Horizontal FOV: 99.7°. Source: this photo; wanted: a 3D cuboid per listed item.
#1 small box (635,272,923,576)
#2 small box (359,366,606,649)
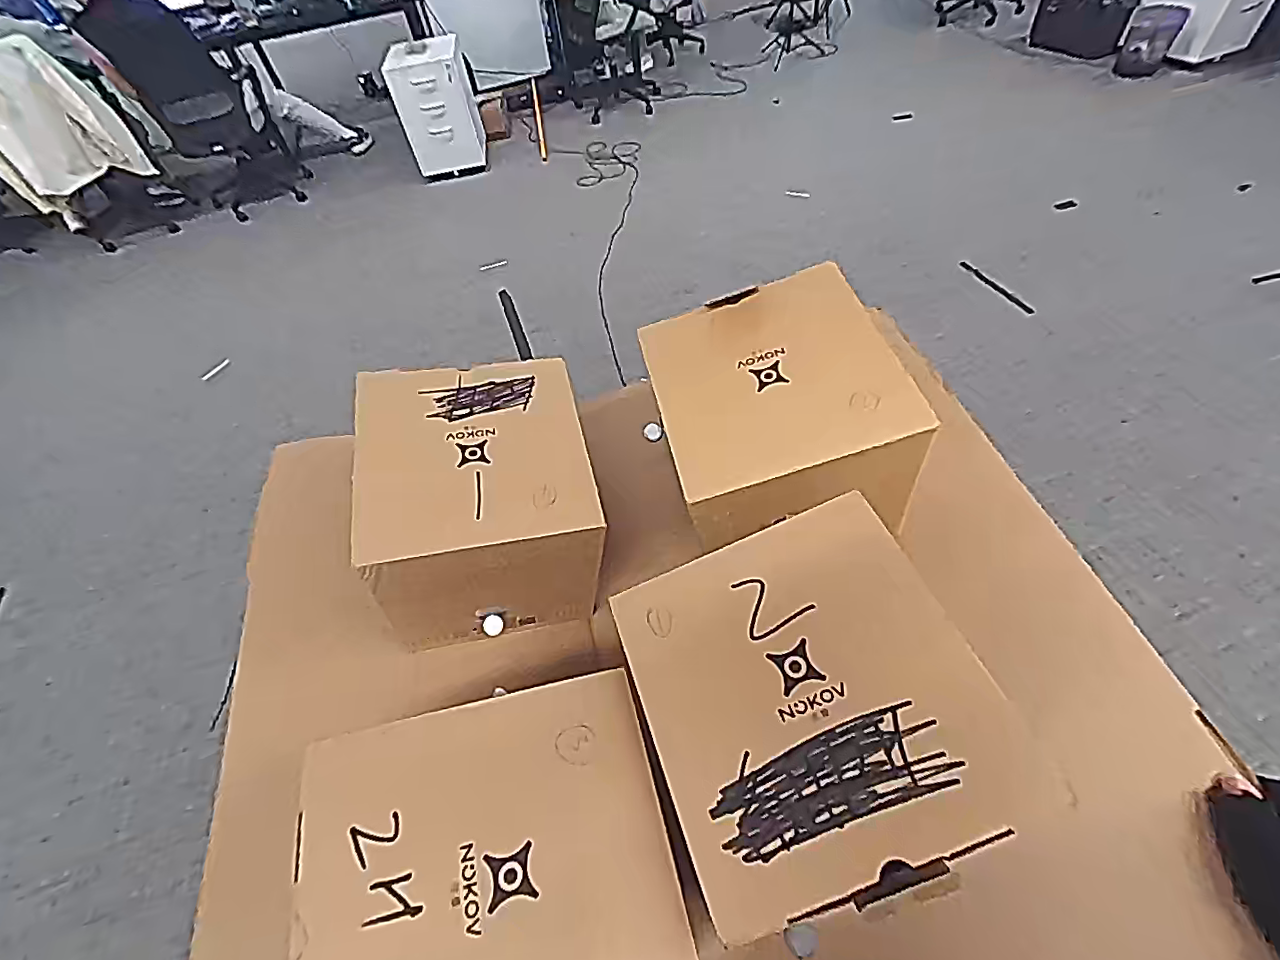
[{"bbox_3d":[0.109,-0.034,0.461,0.168,0.176,0.179,-18,55,6],"label":"small box"},{"bbox_3d":[-0.132,0.025,0.476,0.168,0.176,0.179,-8,56,-14],"label":"small box"}]
